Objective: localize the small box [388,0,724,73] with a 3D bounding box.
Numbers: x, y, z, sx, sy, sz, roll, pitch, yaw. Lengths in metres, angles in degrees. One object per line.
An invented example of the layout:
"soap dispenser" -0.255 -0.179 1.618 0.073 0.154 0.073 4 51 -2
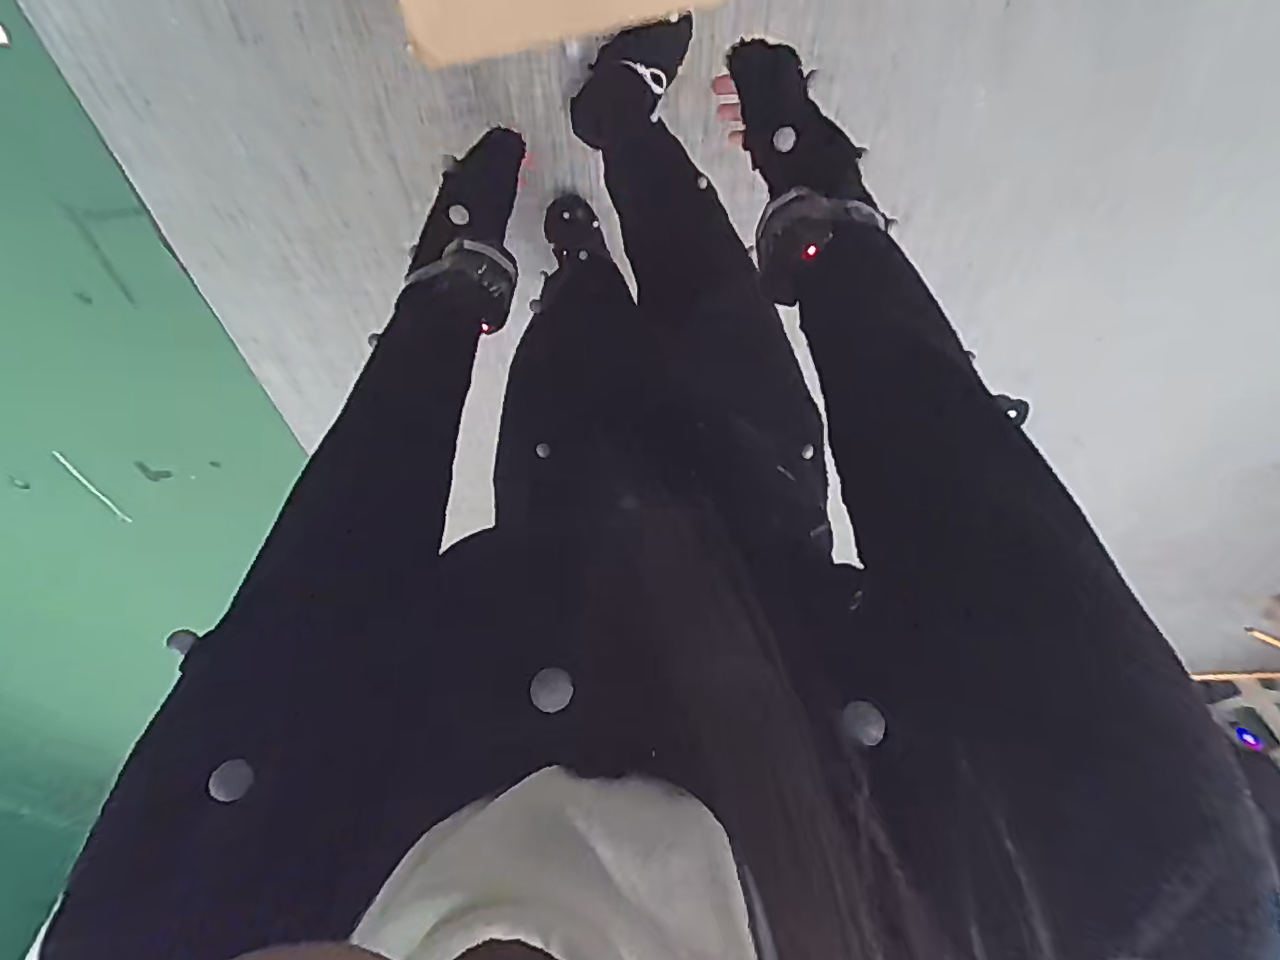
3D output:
"small box" -0.056 -0.347 0.287 0.179 0.176 0.168 -10 137 5
